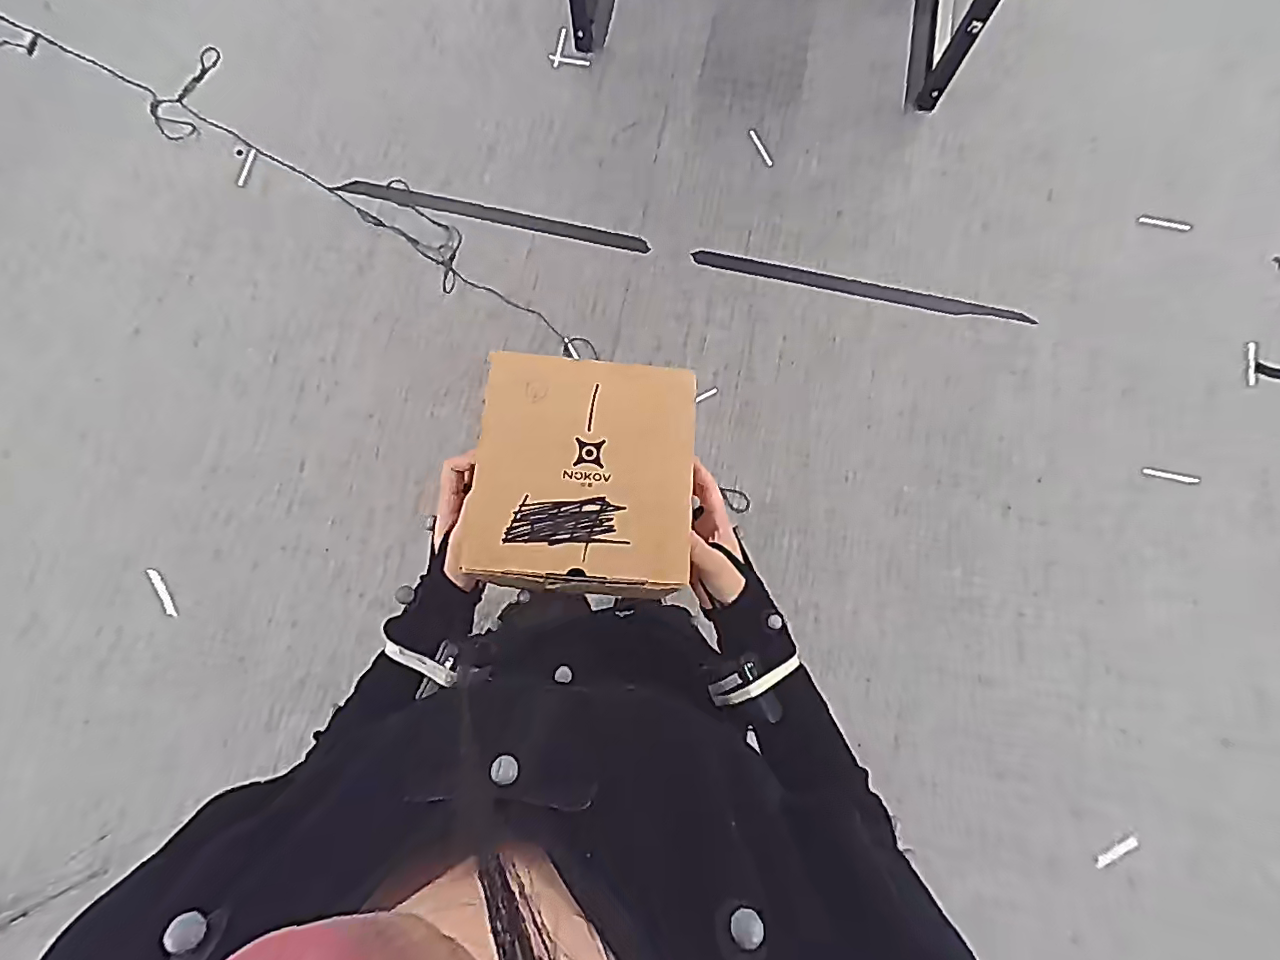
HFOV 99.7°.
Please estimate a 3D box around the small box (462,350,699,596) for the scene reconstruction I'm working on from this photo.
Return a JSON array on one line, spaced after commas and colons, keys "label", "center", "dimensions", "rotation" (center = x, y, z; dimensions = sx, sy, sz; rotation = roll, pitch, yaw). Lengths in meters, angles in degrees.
[{"label": "small box", "center": [-0.047, 0.009, 0.485], "dimensions": [0.168, 0.176, 0.179], "rotation": [5, 74, -5]}]
